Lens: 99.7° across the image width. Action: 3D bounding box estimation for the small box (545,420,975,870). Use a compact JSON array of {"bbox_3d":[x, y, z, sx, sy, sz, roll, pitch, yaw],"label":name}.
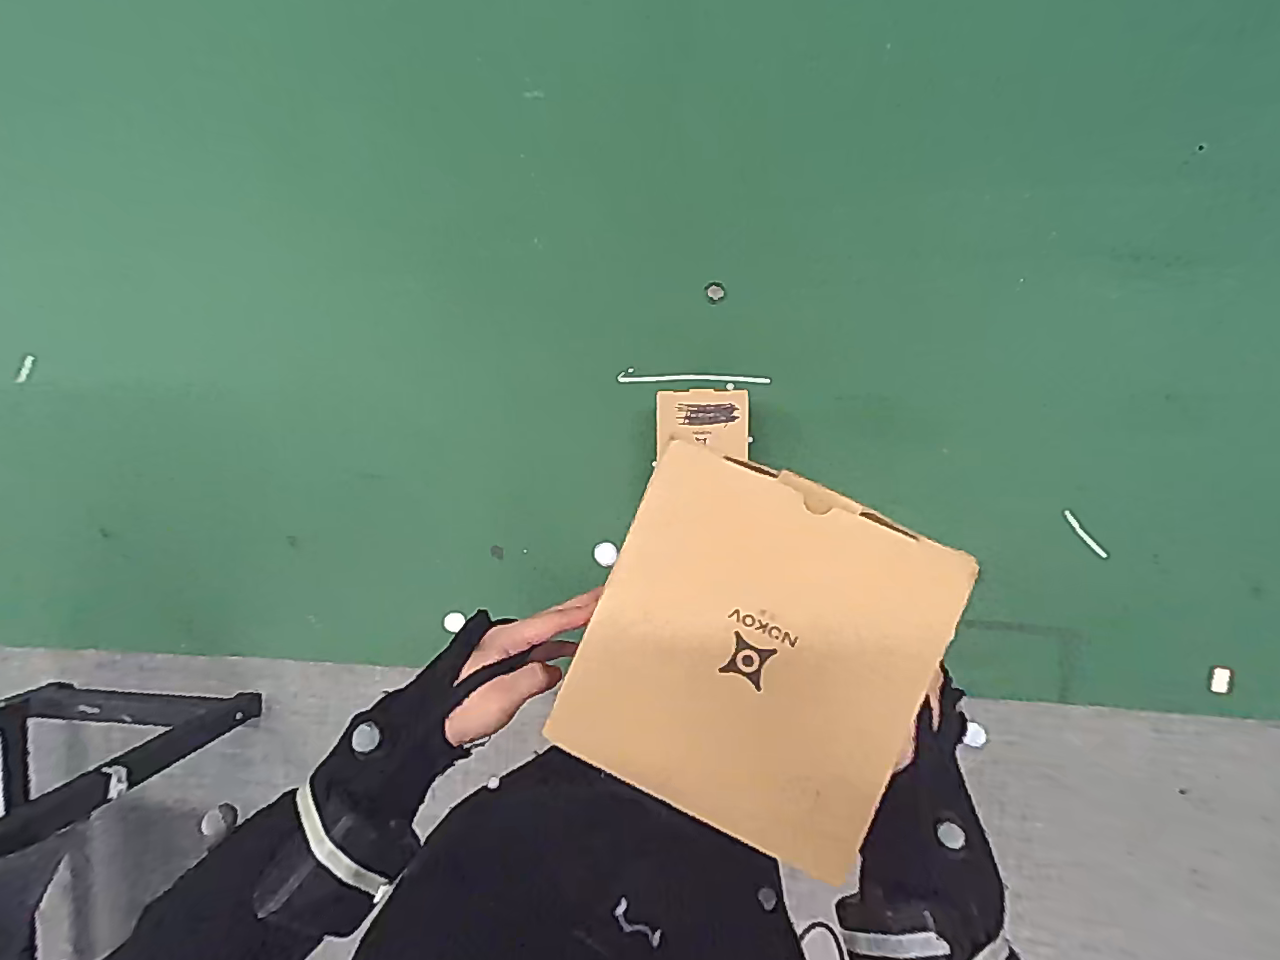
[{"bbox_3d":[0.066,0.083,0.349,0.168,0.176,0.179,23,89,8],"label":"small box"}]
